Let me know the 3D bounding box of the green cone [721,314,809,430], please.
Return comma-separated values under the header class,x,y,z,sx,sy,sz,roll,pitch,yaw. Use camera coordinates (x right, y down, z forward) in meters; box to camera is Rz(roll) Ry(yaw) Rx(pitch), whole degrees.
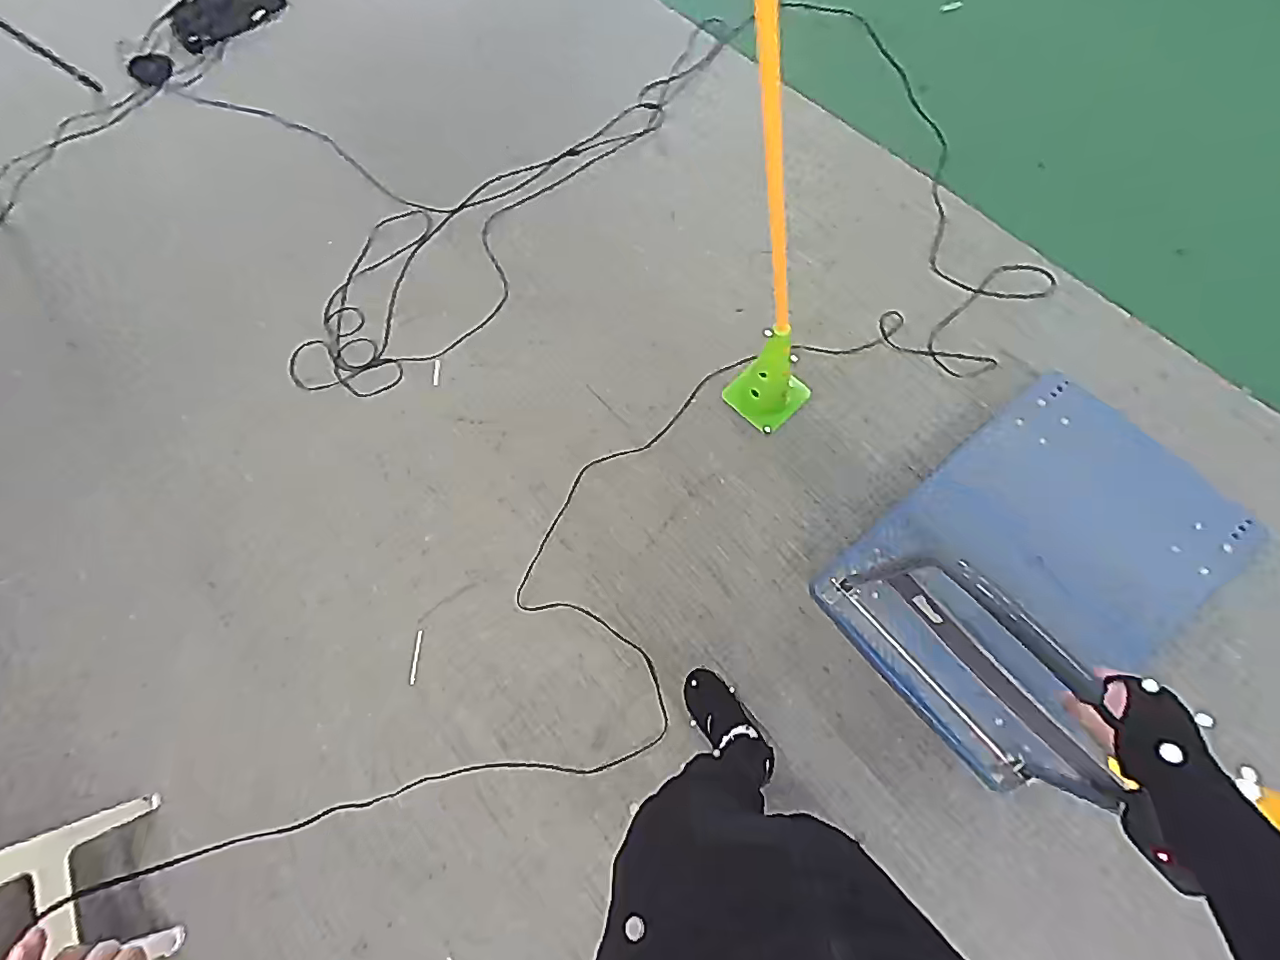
class,x,y,z,sx,sy,sz,roll,pitch,yaw
green cone,0.351,-0.324,1.457,0.200,0.368,0.202,-44,72,-8
